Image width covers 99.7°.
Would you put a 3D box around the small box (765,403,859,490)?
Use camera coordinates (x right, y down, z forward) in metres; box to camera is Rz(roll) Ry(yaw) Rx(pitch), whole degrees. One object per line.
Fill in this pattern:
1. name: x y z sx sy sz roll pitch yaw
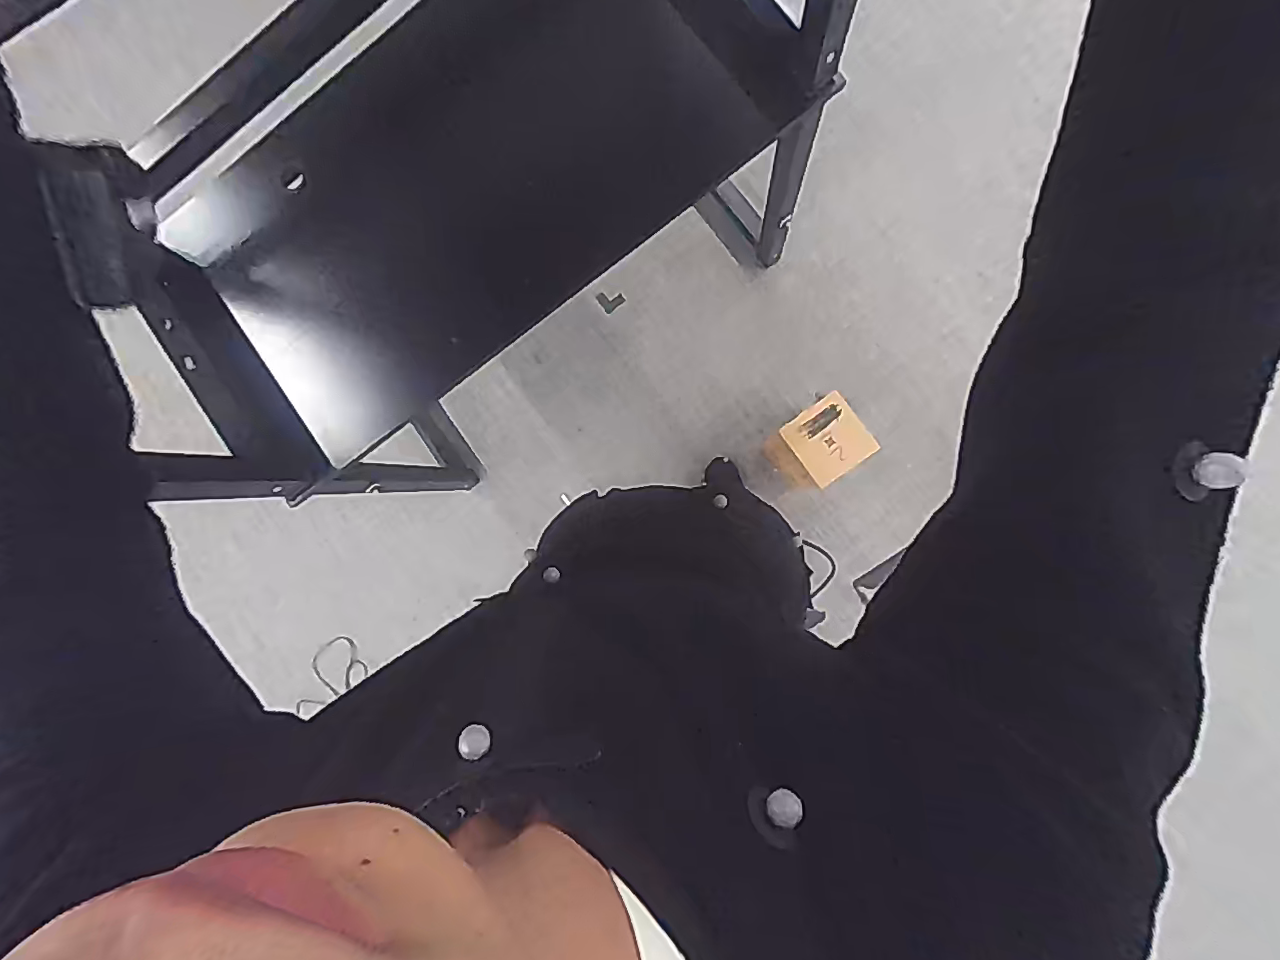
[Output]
1. small box: 0.465 -0.090 1.495 0.179 0.176 0.168 -38 85 7
